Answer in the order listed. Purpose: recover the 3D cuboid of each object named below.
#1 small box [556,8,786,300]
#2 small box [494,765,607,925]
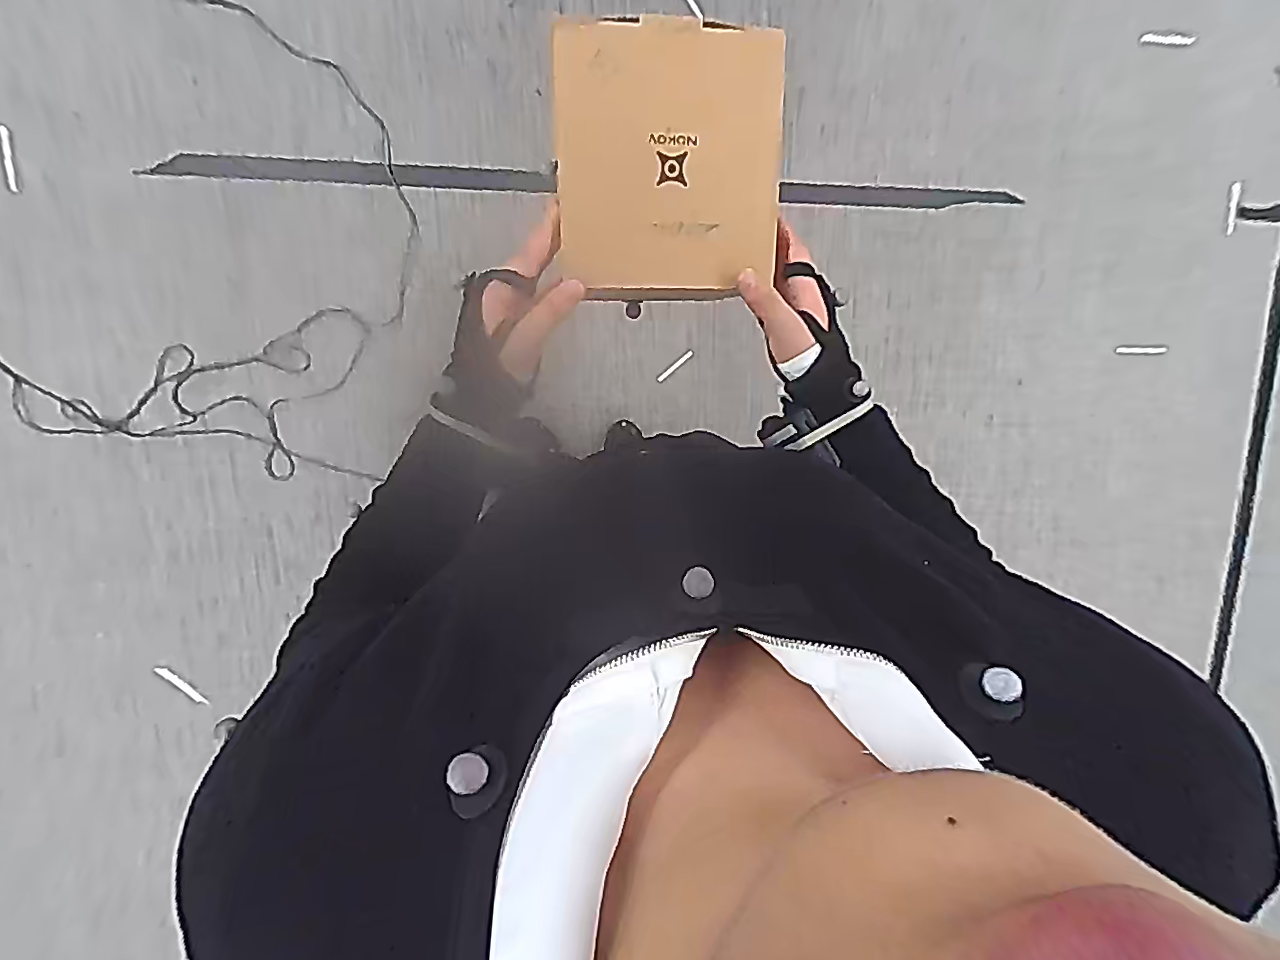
[{"bbox_3d":[0.013,-0.255,0.470,0.168,0.176,0.179,-3,105,-7],"label":"small box"},{"bbox_3d":[-0.156,0.664,1.001,0.179,0.176,0.168,-8,97,-3],"label":"small box"}]
